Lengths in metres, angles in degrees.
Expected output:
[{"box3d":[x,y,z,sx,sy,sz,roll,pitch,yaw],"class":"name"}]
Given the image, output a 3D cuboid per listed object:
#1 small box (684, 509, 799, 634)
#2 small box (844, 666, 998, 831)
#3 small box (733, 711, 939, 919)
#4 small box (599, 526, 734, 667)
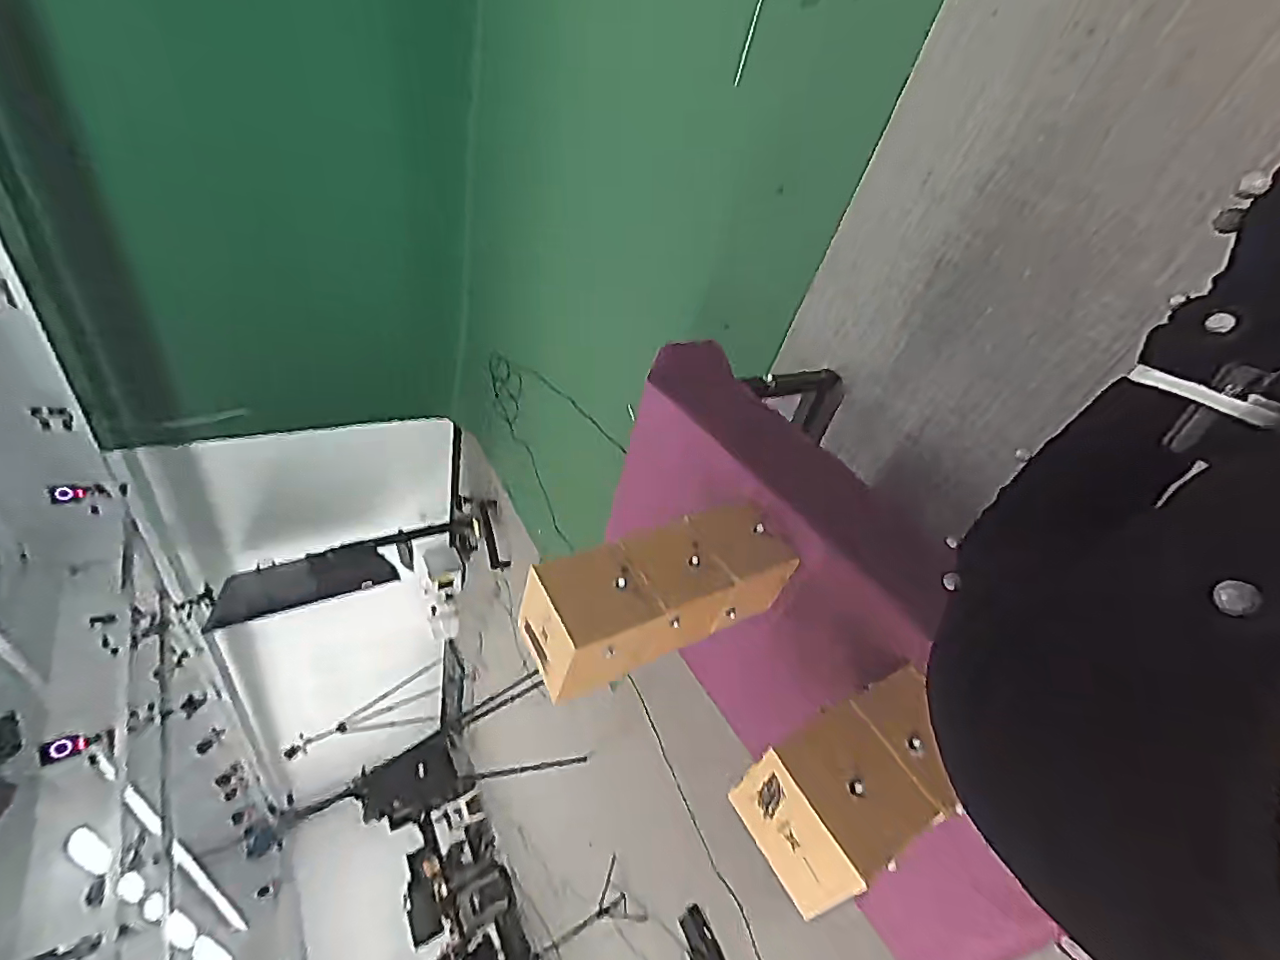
[{"box3d":[0.183,0.175,1.098,0.179,0.176,0.168,51,139,35],"class":"small box"},{"box3d":[0.407,0.428,0.846,0.179,0.176,0.168,52,138,35],"class":"small box"},{"box3d":[0.270,0.455,0.761,0.179,0.176,0.168,50,137,34],"class":"small box"},{"box3d":[0.048,0.213,1.014,0.168,0.176,0.179,51,137,34],"class":"small box"}]
